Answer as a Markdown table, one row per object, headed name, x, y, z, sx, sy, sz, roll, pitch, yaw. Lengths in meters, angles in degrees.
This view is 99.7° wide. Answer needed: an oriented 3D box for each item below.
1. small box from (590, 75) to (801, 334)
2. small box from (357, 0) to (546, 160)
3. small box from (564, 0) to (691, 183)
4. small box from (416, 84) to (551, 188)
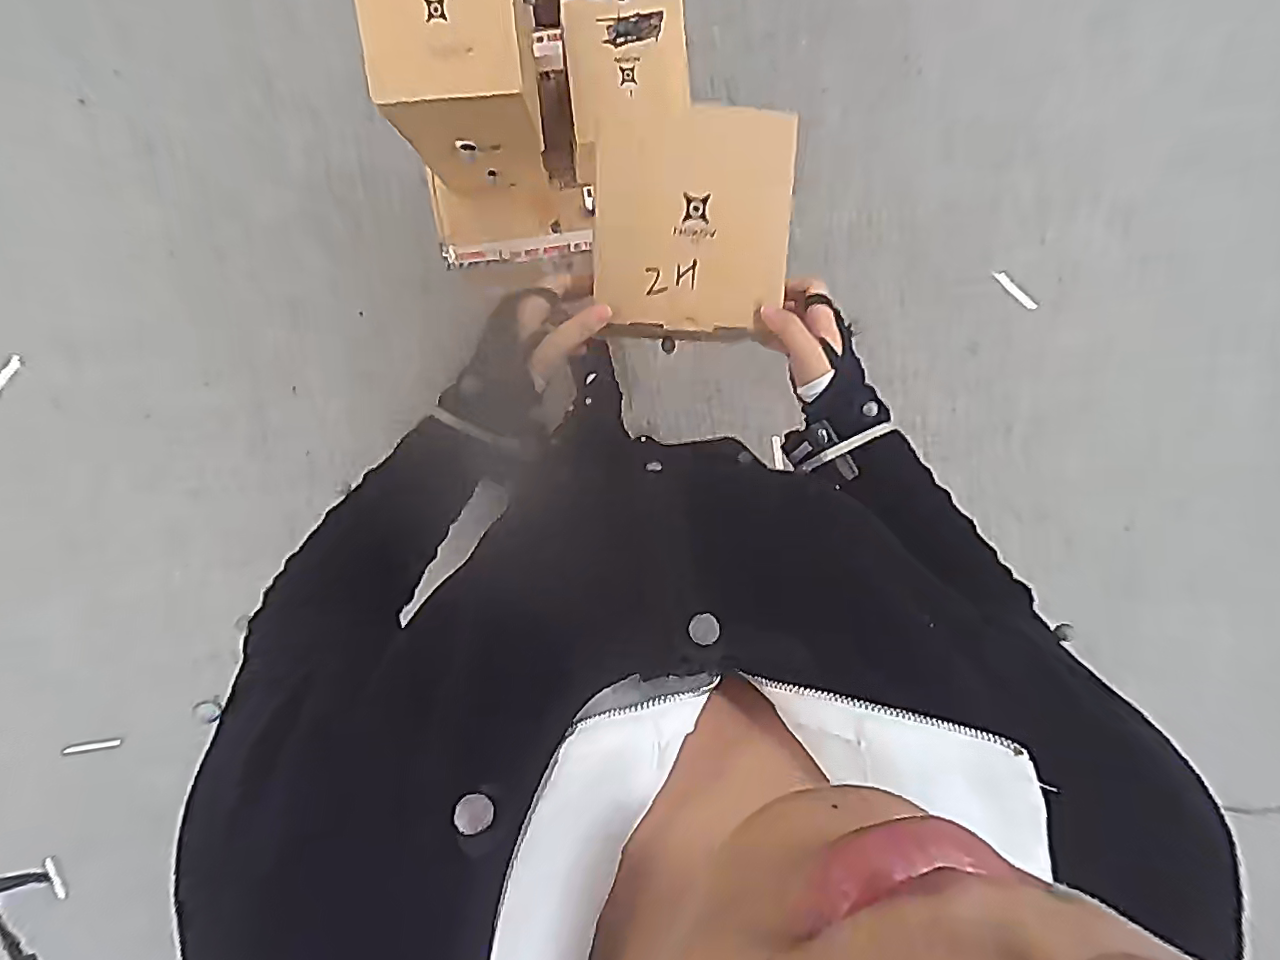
| name | x | y | z | sx | sy | sz | roll | pitch | yaw |
| --- | --- | --- | --- | --- | --- | --- | --- | --- | --- |
| small box | 0.038 | -0.241 | 0.519 | 0.168 | 0.176 | 0.179 | 1 | 101 | -5 |
| small box | -0.211 | -0.507 | 0.636 | 0.168 | 0.176 | 0.179 | -5 | 103 | 0 |
| small box | -0.021 | -0.569 | 0.805 | 0.168 | 0.176 | 0.179 | -7 | 102 | -4 |
| small box | -0.229 | -0.546 | 0.794 | 0.168 | 0.176 | 0.179 | -5 | 103 | -1 |
